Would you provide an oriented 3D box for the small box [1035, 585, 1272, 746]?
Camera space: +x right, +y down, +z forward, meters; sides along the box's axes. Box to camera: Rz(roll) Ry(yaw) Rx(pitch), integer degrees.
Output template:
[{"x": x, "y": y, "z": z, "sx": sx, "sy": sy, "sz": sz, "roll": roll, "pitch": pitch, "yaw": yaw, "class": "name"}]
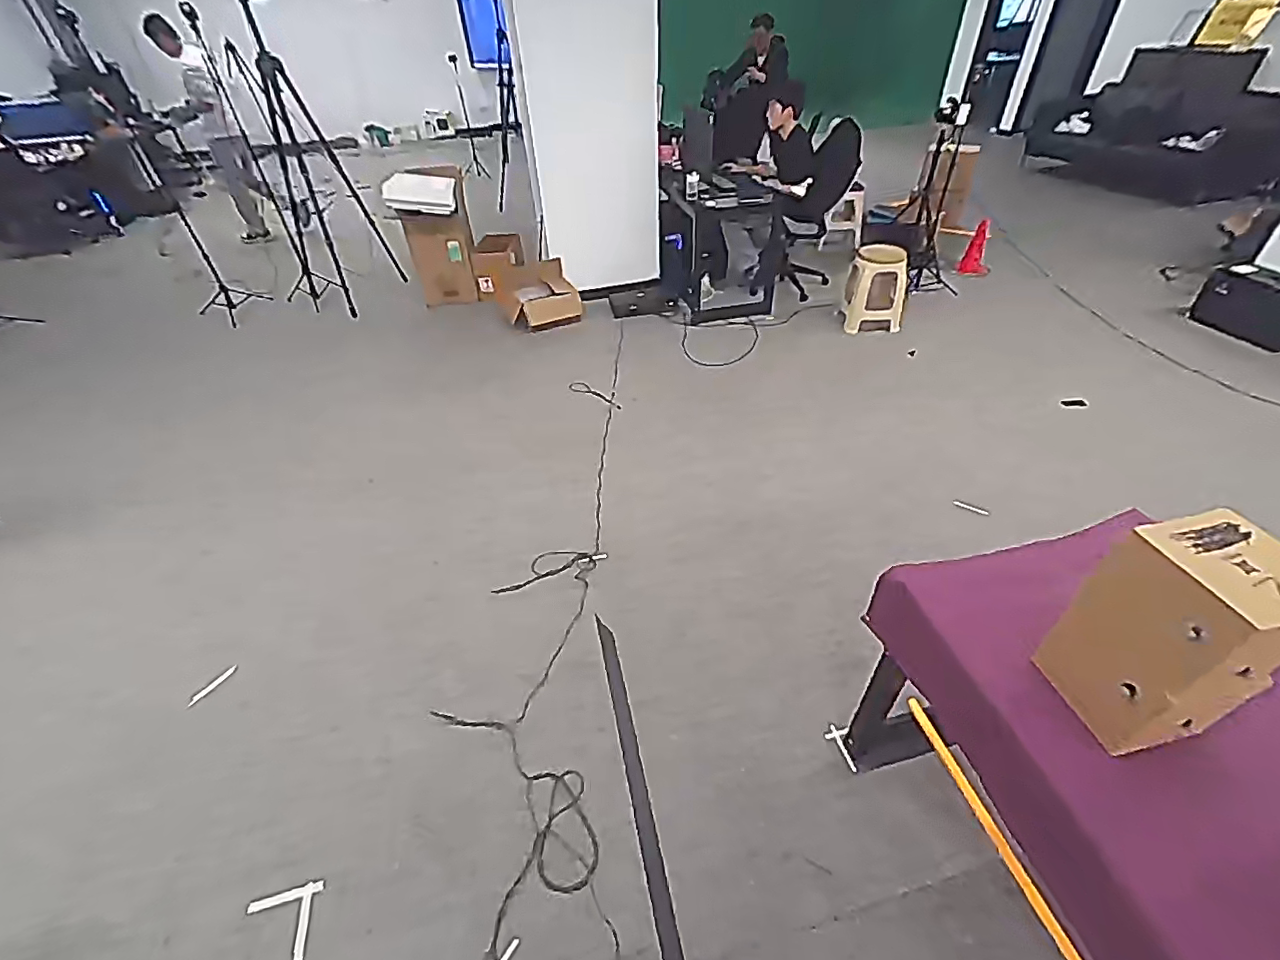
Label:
[{"x": 0.789, "y": 0.299, "z": 0.857, "sx": 0.168, "sy": 0.176, "sz": 0.179, "roll": -9, "pitch": 42, "yaw": -7, "class": "small box"}]
